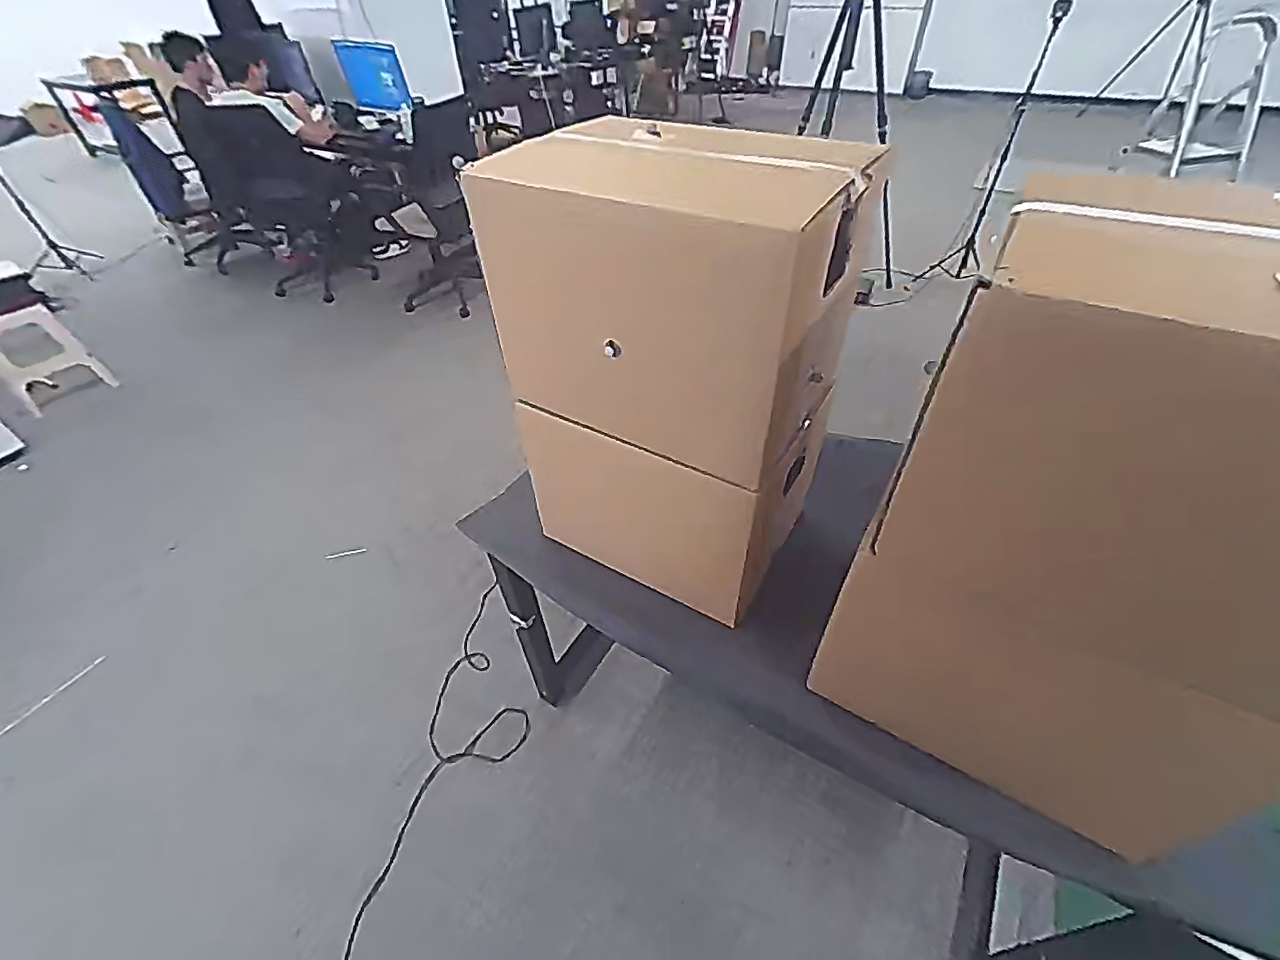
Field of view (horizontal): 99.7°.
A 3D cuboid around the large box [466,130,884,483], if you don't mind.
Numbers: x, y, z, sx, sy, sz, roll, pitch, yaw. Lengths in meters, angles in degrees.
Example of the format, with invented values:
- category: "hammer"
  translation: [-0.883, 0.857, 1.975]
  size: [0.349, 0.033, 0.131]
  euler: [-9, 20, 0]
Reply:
- category: "large box"
  translation: [0.054, -0.252, 0.733]
  size: [0.408, 0.320, 0.320]
  euler: [22, 48, 24]
